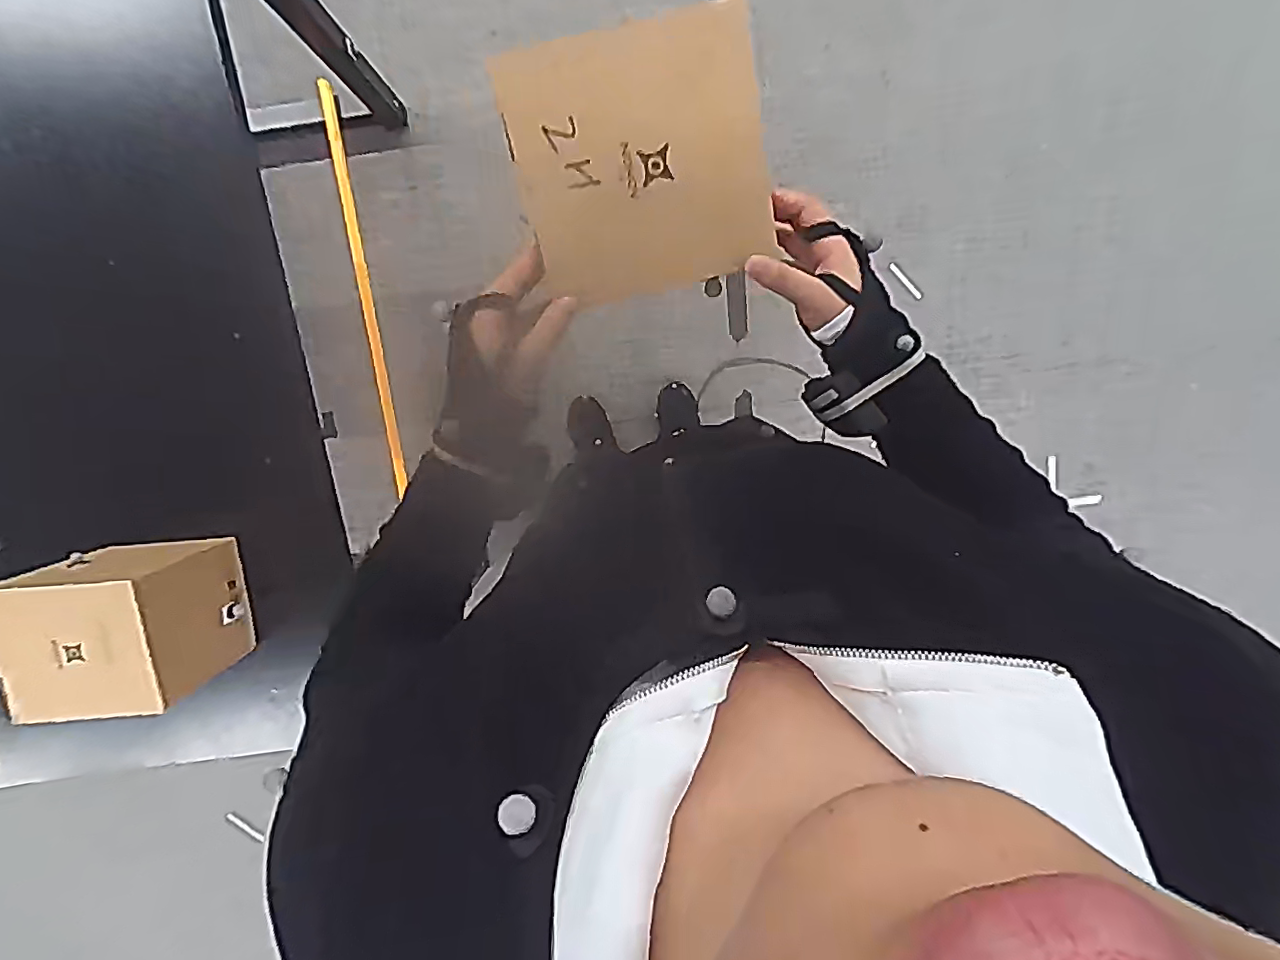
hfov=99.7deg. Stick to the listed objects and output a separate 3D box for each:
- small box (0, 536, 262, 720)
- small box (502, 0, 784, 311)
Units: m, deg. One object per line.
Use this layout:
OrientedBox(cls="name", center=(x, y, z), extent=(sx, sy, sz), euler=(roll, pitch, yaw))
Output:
OrientedBox(cls="small box", center=(-0.634, 0.177, 0.689), extent=(0.179, 0.176, 0.168), euler=(-5, 102, -1))
OrientedBox(cls="small box", center=(0.002, -0.247, 0.451), extent=(0.179, 0.176, 0.168), euler=(-13, 111, 0))
